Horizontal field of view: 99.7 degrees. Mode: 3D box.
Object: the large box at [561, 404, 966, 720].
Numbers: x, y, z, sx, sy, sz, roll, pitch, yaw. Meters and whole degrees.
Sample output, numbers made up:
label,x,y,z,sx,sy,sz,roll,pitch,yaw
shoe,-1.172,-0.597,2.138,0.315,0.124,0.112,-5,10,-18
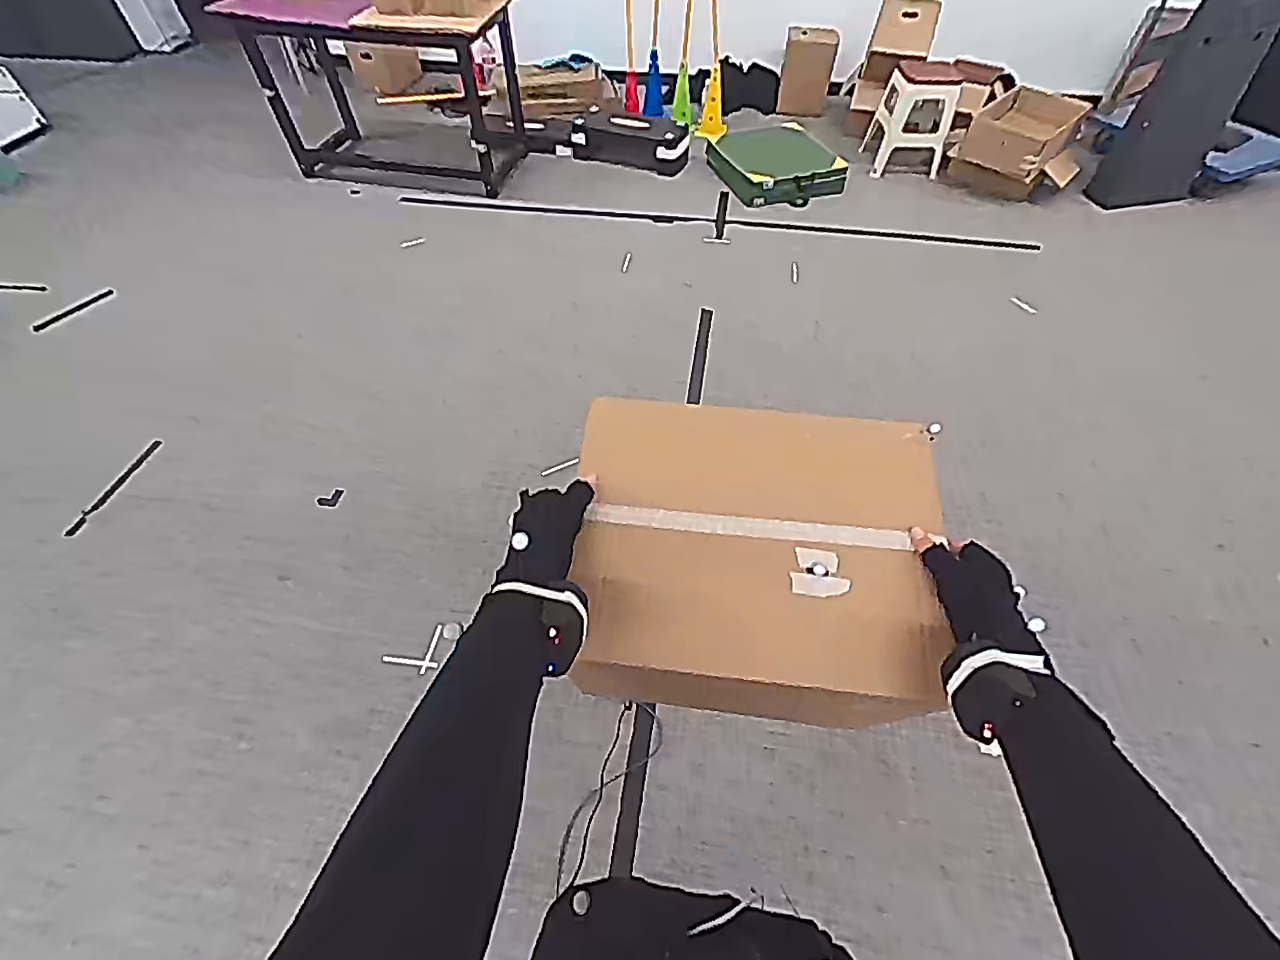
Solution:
label,x,y,z,sx,sy,sz,roll,pitch,yaw
large box,0.134,0.124,0.728,0.408,0.320,0.320,6,63,5
